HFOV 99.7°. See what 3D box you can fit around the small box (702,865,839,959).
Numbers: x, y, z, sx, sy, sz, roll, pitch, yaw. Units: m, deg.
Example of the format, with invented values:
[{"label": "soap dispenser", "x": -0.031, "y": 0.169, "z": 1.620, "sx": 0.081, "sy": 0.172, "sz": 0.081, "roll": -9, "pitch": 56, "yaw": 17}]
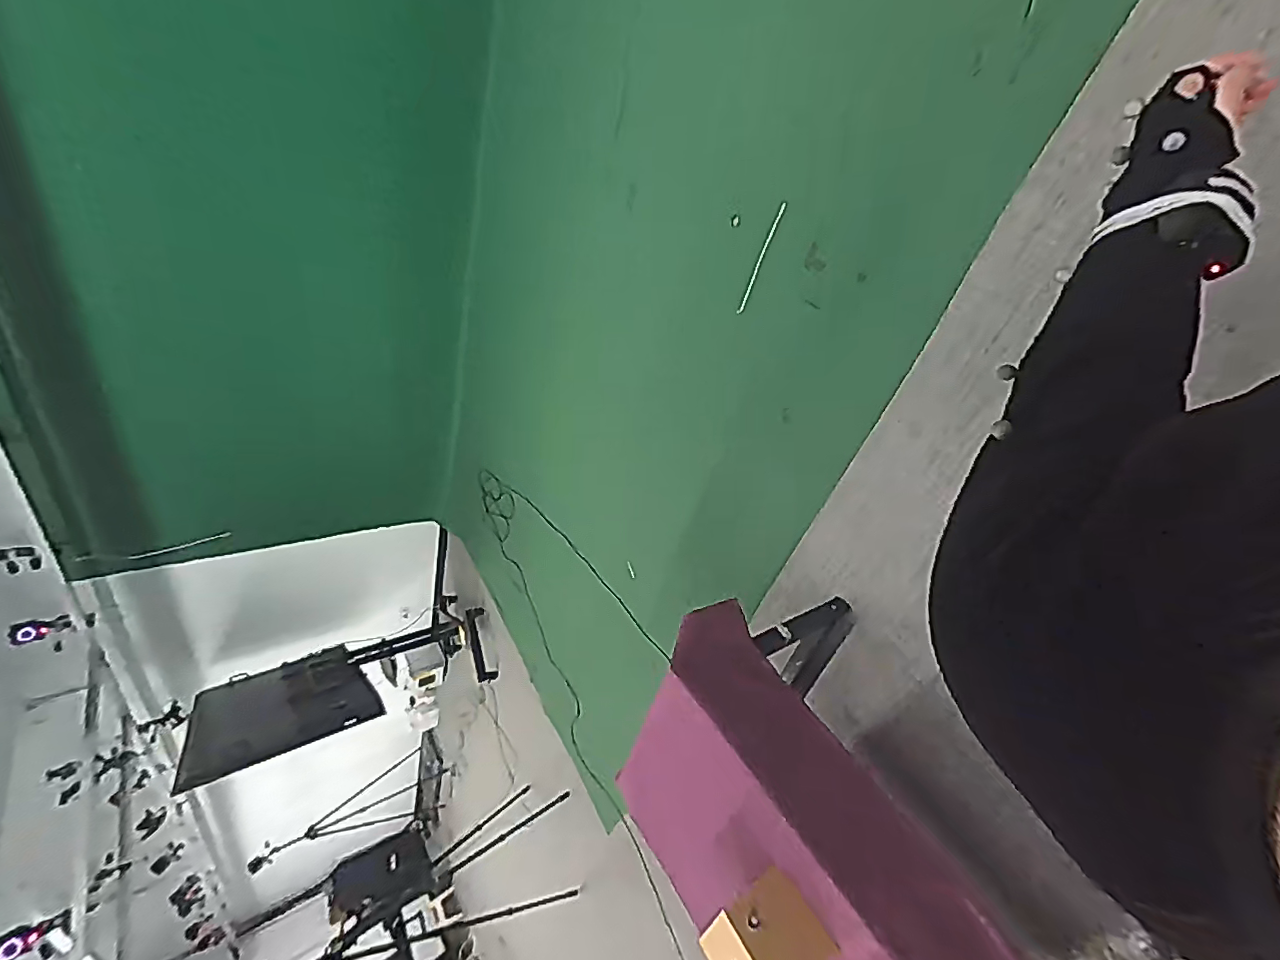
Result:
[{"label": "small box", "x": 0.263, "y": 0.930, "z": 1.101, "sx": 0.179, "sy": 0.176, "sz": 0.168, "roll": 46, "pitch": 133, "yaw": 37}]
